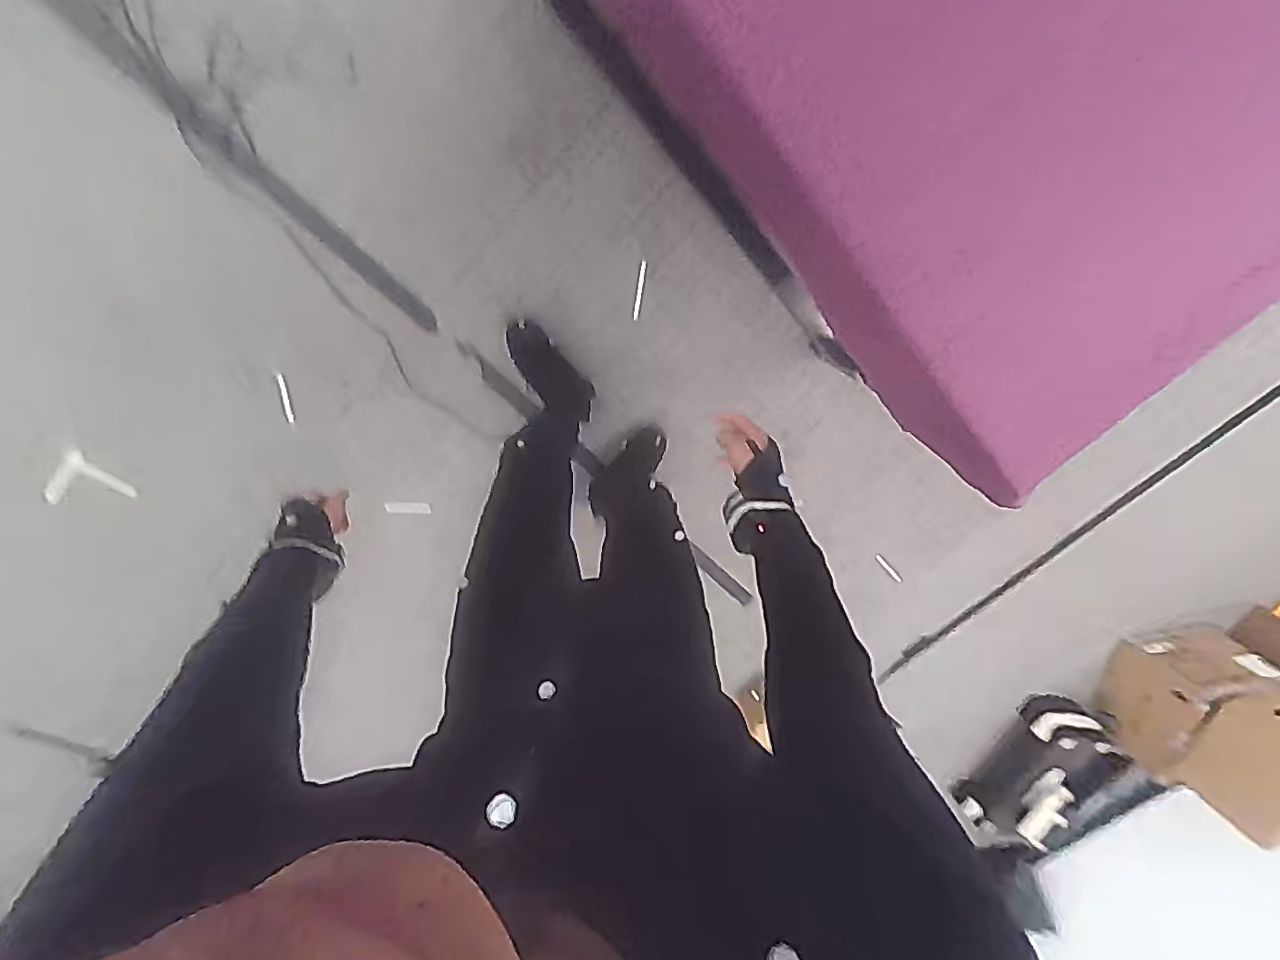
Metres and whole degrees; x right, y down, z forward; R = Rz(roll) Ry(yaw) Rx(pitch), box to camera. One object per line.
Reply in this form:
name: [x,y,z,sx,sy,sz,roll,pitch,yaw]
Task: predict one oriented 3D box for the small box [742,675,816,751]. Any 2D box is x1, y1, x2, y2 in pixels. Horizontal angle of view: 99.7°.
small box: [0.509,0.856,1.997,0.179,0.176,0.168,38,106,-23]
